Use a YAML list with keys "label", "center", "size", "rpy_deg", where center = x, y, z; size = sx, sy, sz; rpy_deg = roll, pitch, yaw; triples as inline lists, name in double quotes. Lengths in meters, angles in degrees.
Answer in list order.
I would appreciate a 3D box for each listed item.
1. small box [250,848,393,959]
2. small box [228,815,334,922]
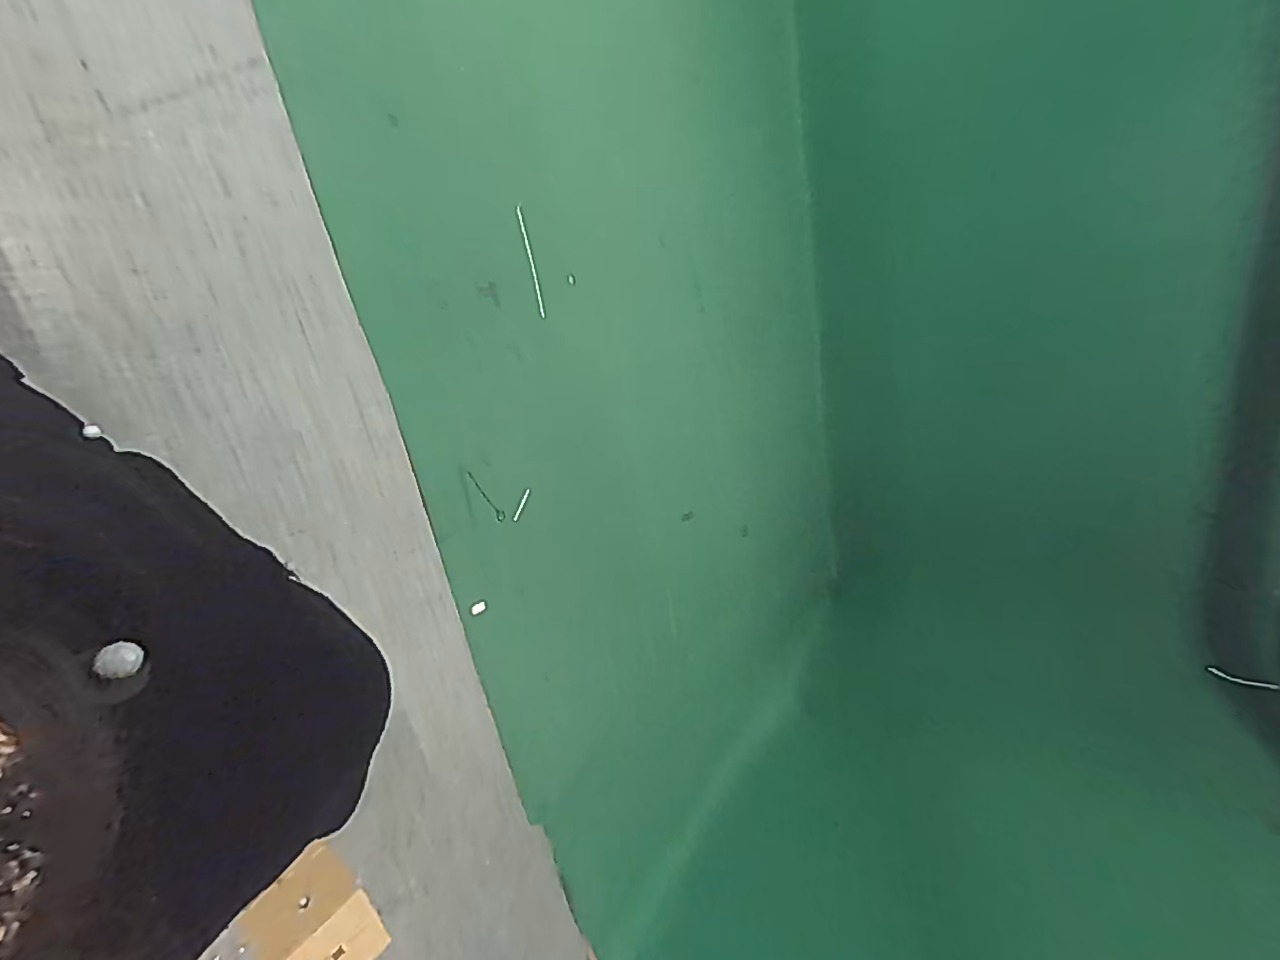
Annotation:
- label: "small box"
  center: [-0.632, 0.888, 1.067]
  size: [0.179, 0.176, 0.168]
  rpy_deg: [-33, 117, -44]
- label: "small box"
  center: [-0.752, 0.881, 1.180]
  size: [0.168, 0.176, 0.179]
  rpy_deg: [-35, 118, -43]
